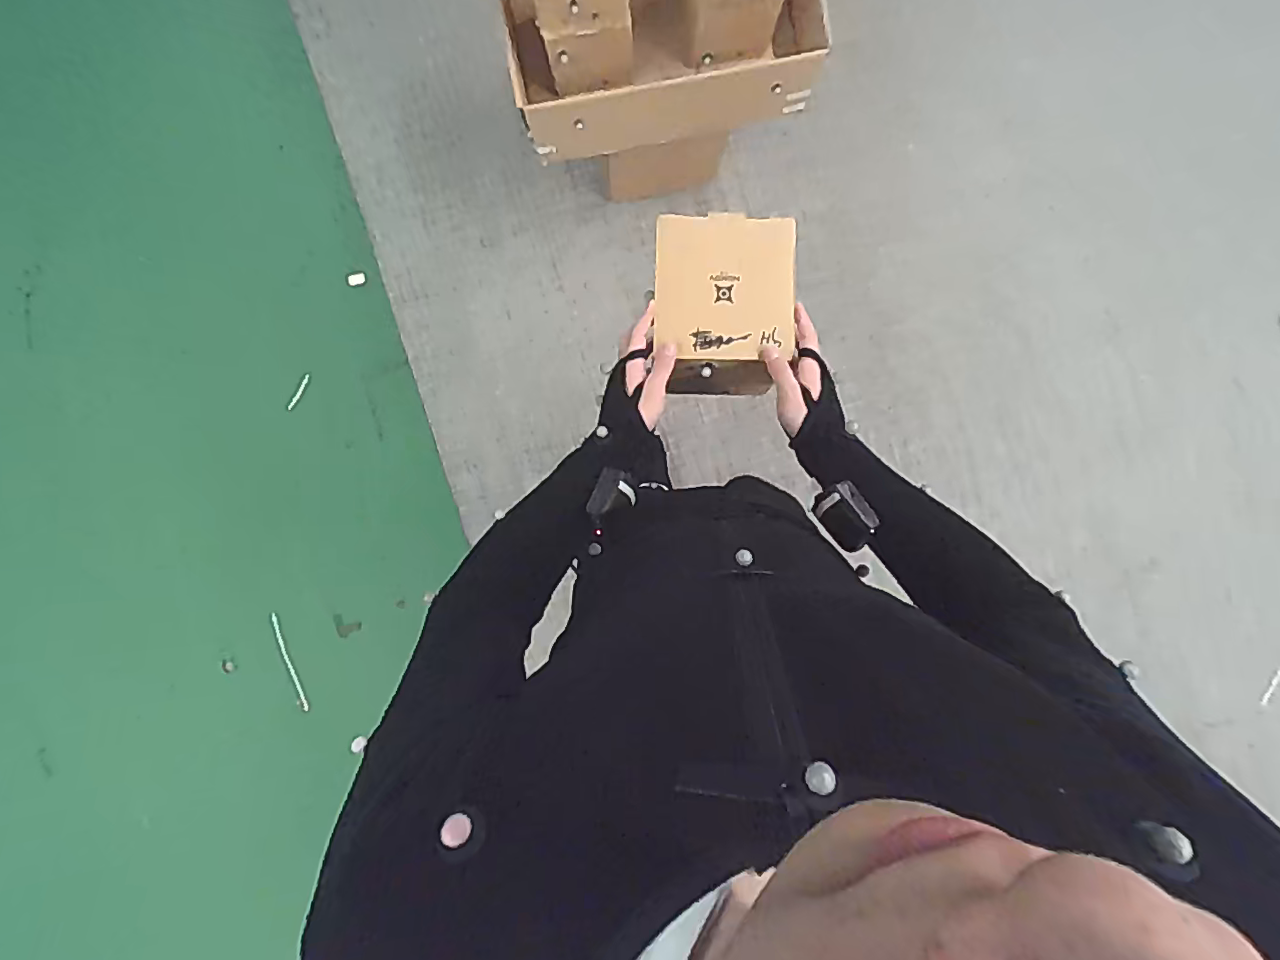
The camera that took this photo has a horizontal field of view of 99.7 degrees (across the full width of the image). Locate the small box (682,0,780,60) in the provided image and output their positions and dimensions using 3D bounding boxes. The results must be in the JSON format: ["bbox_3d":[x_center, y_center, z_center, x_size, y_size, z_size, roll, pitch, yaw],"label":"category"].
[{"bbox_3d":[0.176,-0.973,1.066,0.168,0.176,0.179,-9,93,0],"label":"small box"}]

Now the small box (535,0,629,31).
[{"bbox_3d":[-0.112,-0.913,0.906,0.168,0.176,0.179,-9,94,0],"label":"small box"}]

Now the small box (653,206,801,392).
[{"bbox_3d":[0.103,-0.225,0.705,0.168,0.176,0.179,3,86,1],"label":"small box"}]
